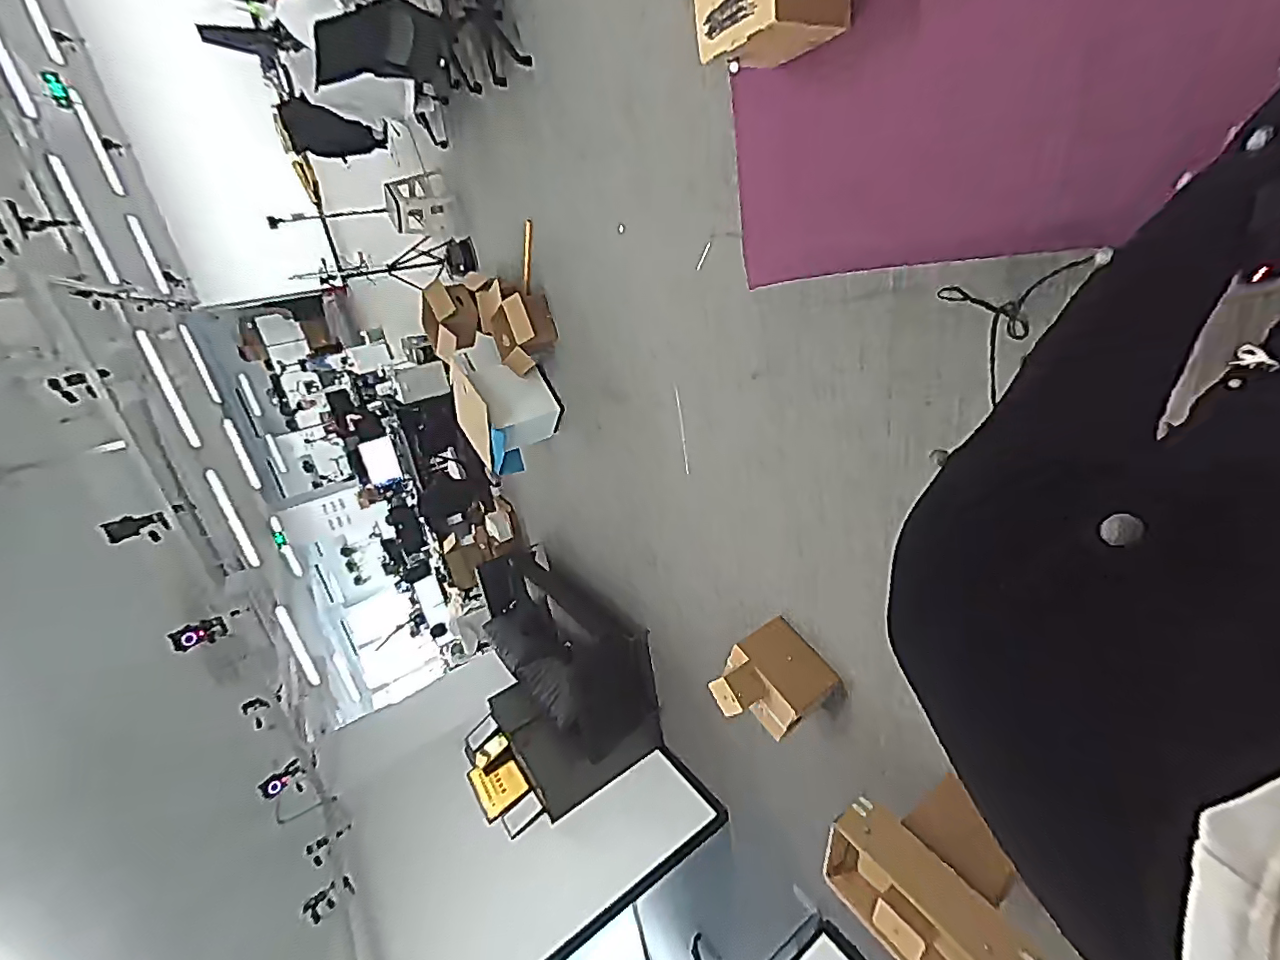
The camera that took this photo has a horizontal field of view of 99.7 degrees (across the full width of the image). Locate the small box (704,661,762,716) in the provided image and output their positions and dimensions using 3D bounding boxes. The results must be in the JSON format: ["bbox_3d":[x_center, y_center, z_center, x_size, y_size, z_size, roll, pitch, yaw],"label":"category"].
[{"bbox_3d":[0.433,0.964,2.504,0.168,0.176,0.179,58,149,18],"label":"small box"}]

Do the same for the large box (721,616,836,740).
[{"bbox_3d":[0.659,0.949,2.625,0.408,0.320,0.320,45,145,34],"label":"large box"}]
